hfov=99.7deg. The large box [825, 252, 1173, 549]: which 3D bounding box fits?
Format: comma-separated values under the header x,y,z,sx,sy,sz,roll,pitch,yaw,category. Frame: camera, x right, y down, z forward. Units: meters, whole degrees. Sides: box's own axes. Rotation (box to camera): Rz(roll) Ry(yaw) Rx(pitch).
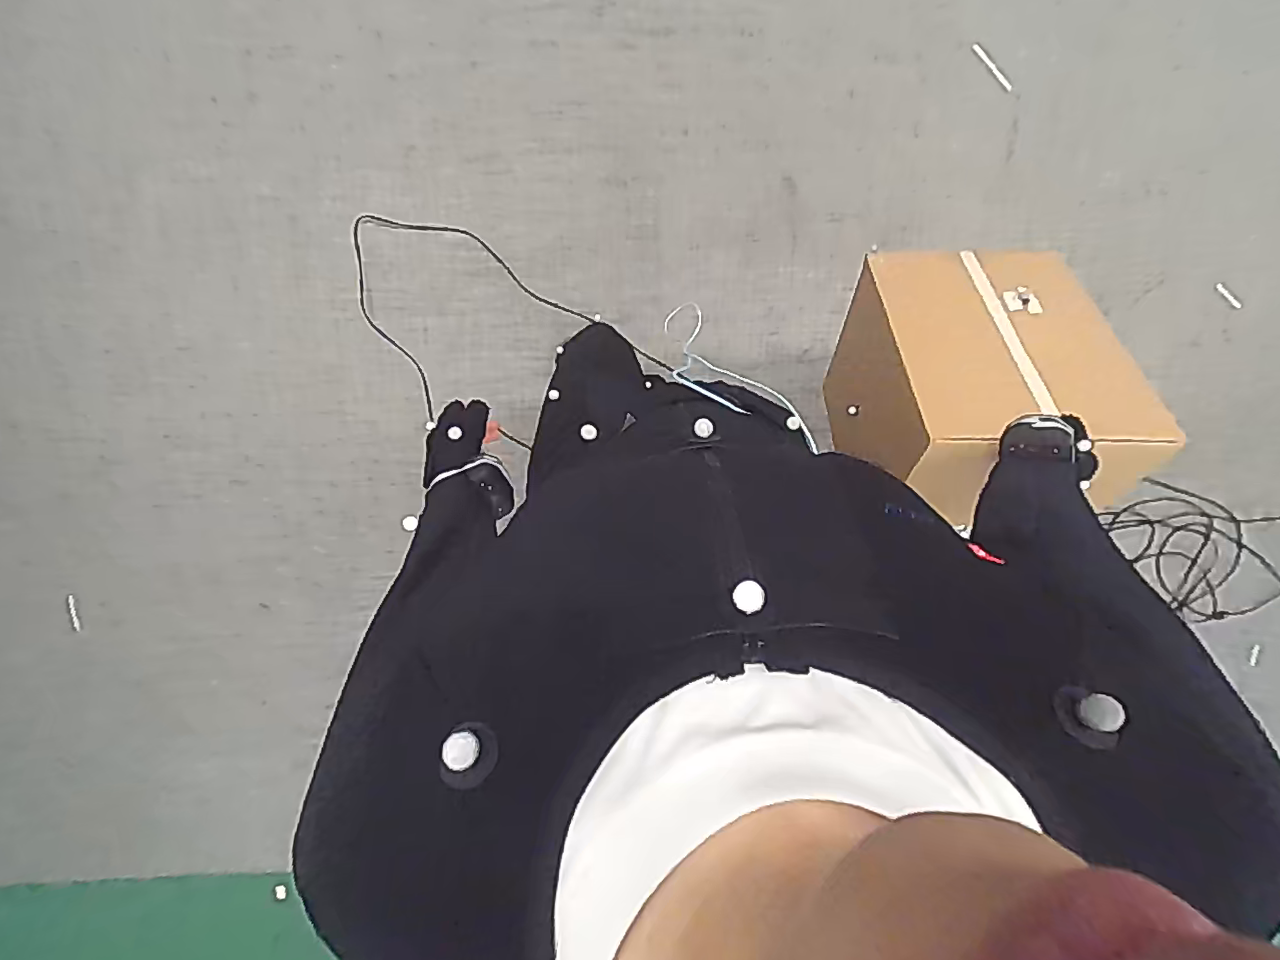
x,y,z,sx,sy,sz,roll,pitch,yaw,category
0.531,-0.127,0.918,0.320,0.408,0.320,1,145,3,large box
